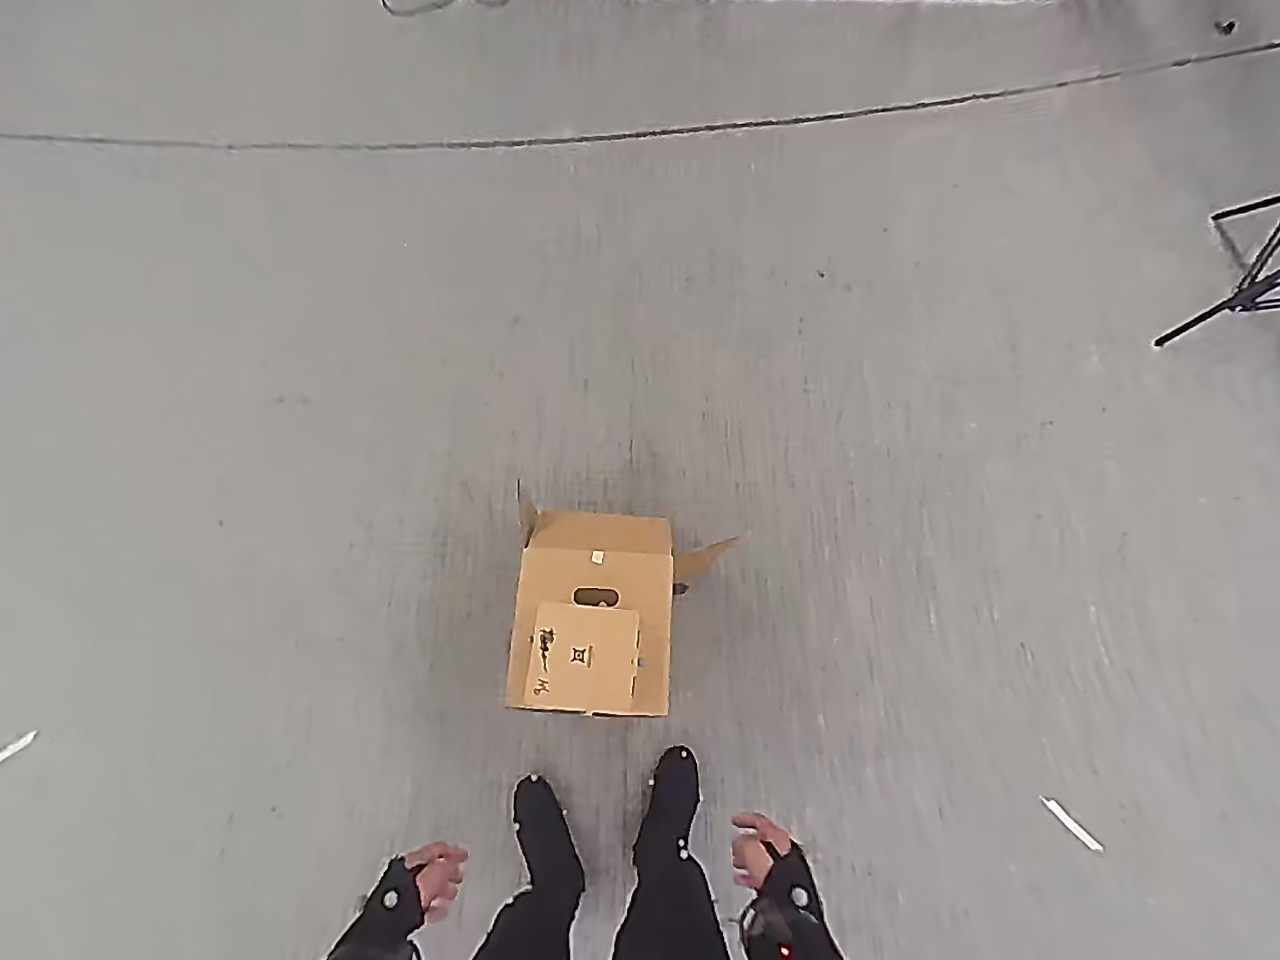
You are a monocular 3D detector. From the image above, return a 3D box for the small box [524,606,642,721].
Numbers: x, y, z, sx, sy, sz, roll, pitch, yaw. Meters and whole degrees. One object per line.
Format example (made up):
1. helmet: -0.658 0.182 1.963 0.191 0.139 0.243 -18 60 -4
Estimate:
1. small box: -0.094 0.322 0.968 0.179 0.176 0.168 6 73 1
